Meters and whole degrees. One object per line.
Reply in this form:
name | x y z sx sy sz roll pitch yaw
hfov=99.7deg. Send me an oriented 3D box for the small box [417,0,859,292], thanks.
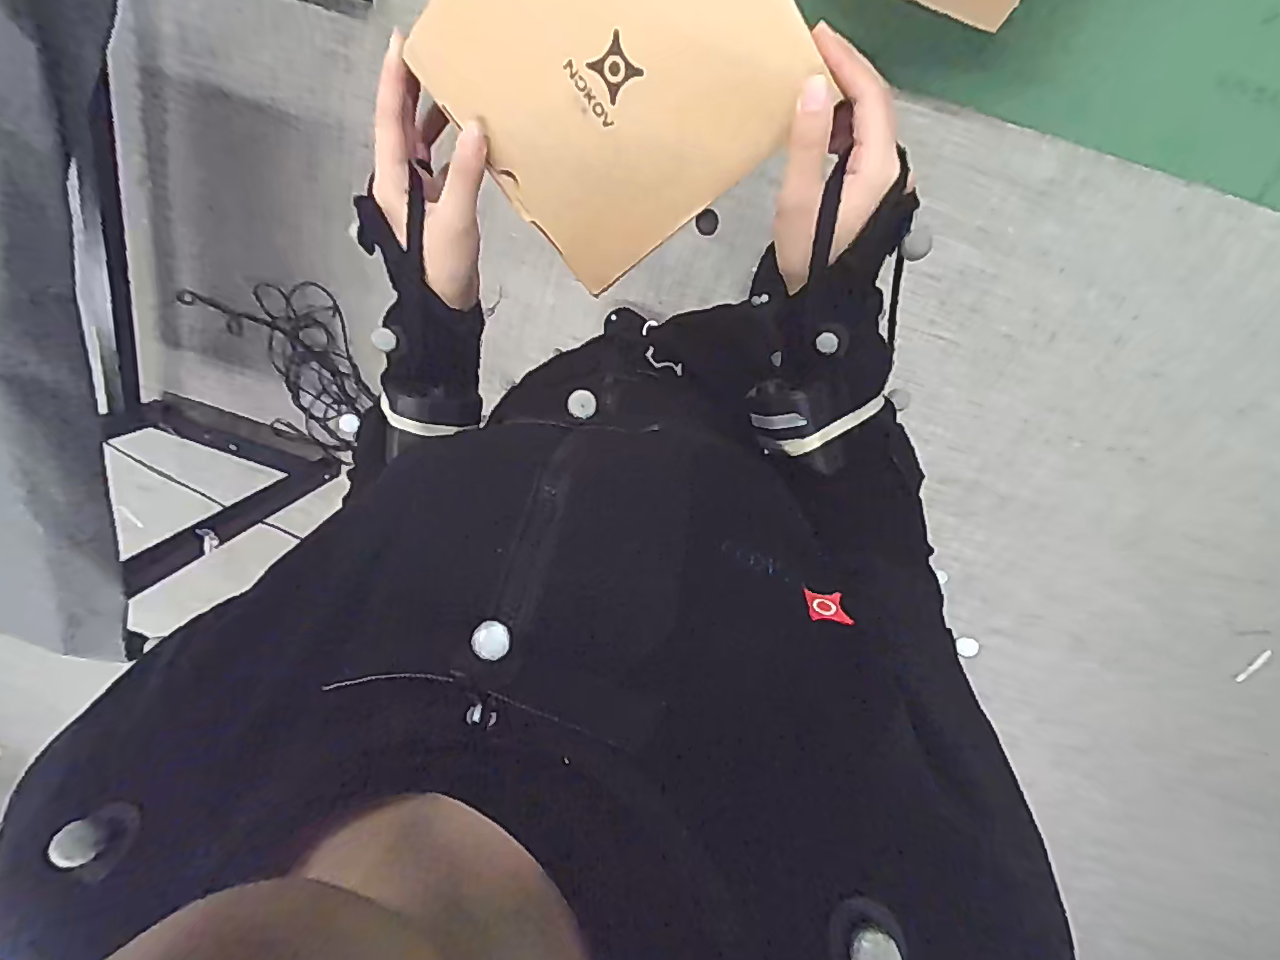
small box | 0.010 -0.259 0.335 0.179 0.176 0.168 -27 117 33
